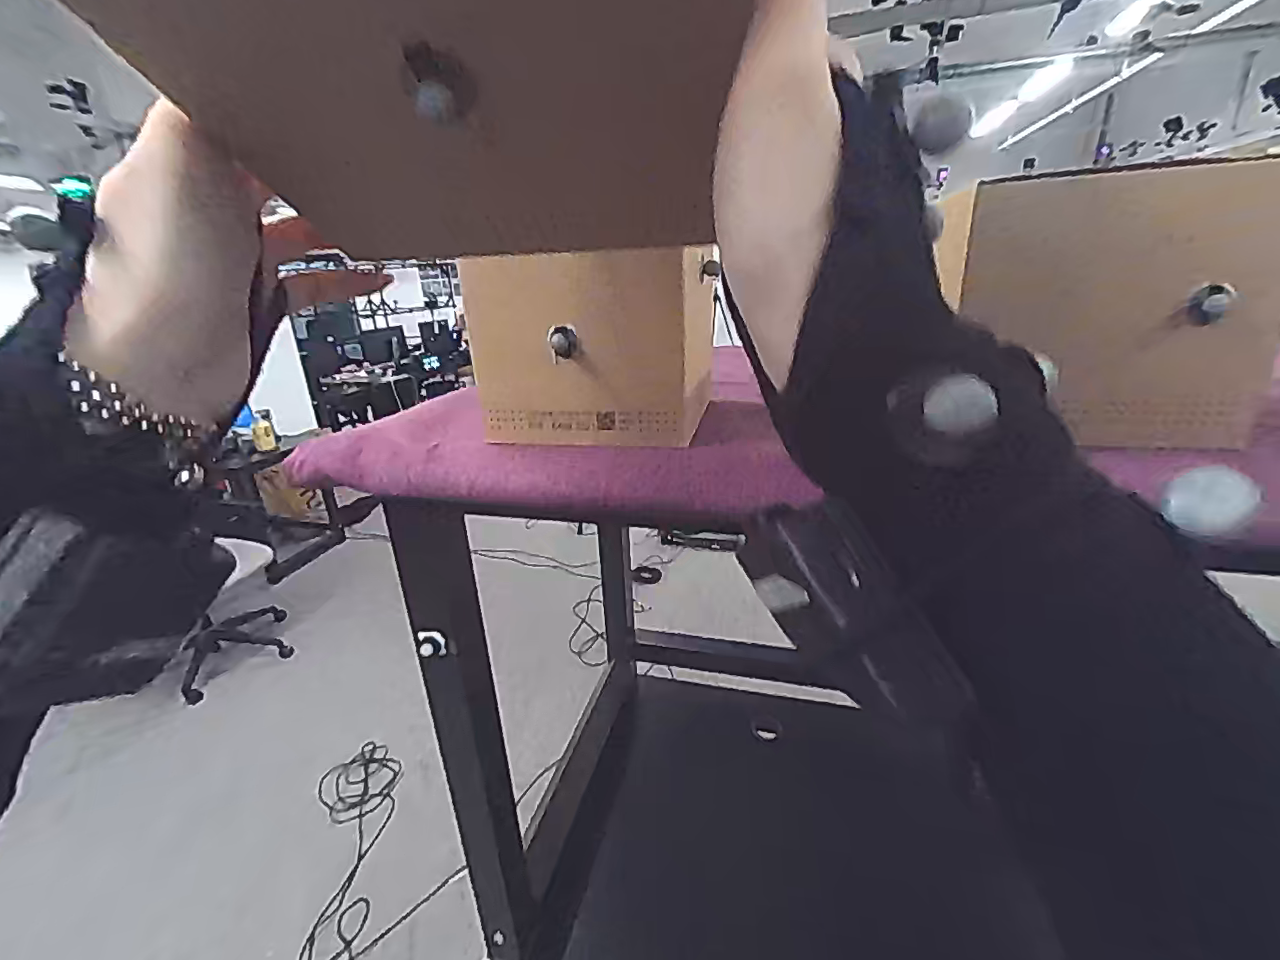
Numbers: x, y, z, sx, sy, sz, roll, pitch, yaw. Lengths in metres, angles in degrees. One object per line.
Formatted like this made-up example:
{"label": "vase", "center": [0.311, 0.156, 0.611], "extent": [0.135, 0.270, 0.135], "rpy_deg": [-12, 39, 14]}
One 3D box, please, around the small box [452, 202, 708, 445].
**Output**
{"label": "small box", "center": [-0.032, -0.132, 0.467], "extent": [0.168, 0.176, 0.179], "rpy_deg": [3, 21, 13]}

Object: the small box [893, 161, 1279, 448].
{"label": "small box", "center": [0.306, -0.124, 0.408], "extent": [0.179, 0.176, 0.168], "rpy_deg": [1, 20, 14]}
